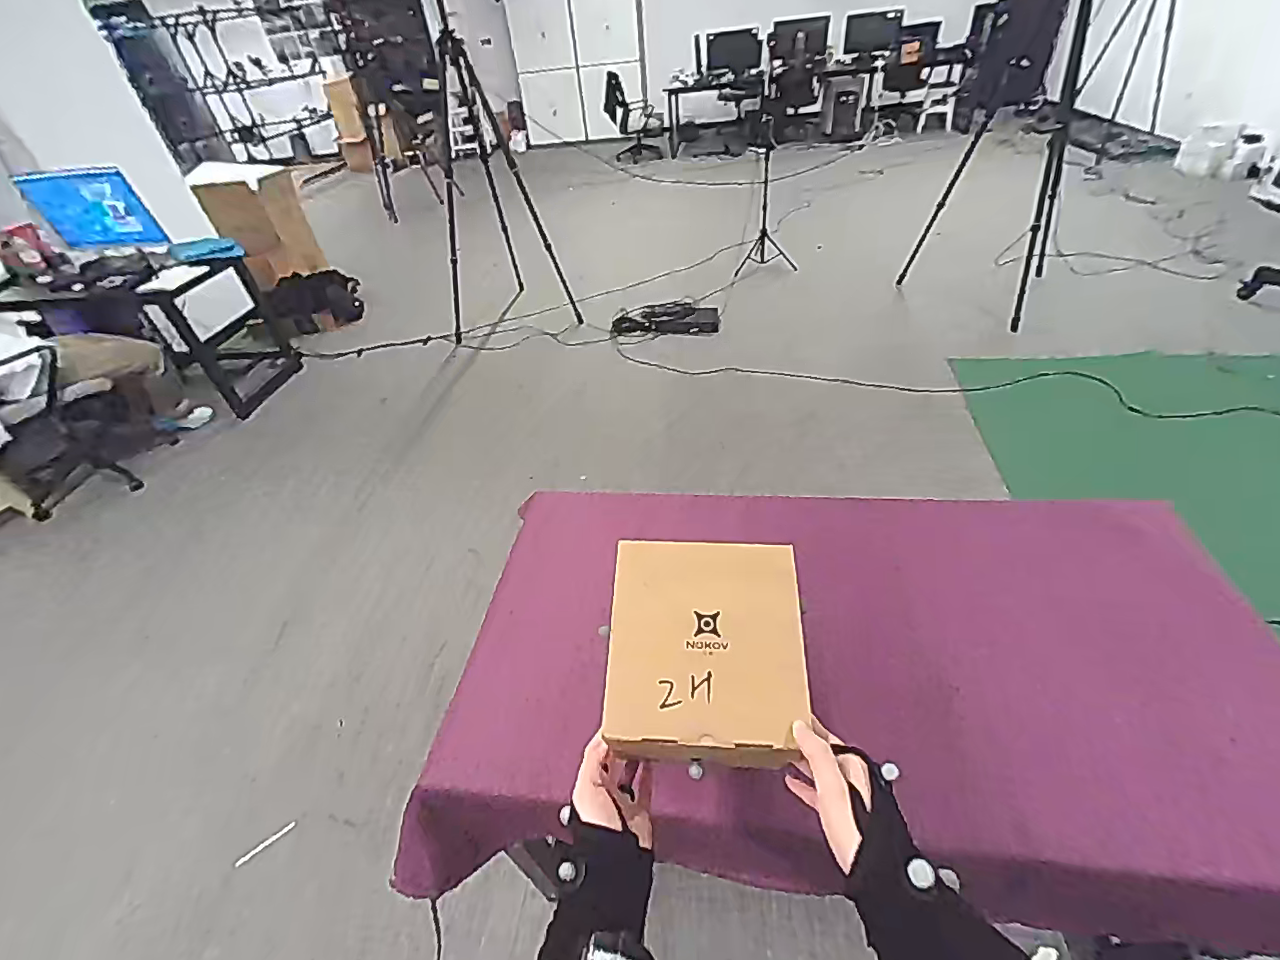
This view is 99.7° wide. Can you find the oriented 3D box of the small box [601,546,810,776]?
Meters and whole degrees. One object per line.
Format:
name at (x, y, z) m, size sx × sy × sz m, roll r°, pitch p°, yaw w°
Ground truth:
small box at (0.057, 0.181, 0.530) m, size 0.168 × 0.176 × 0.179 m, roll 1°, pitch 58°, yaw 4°
